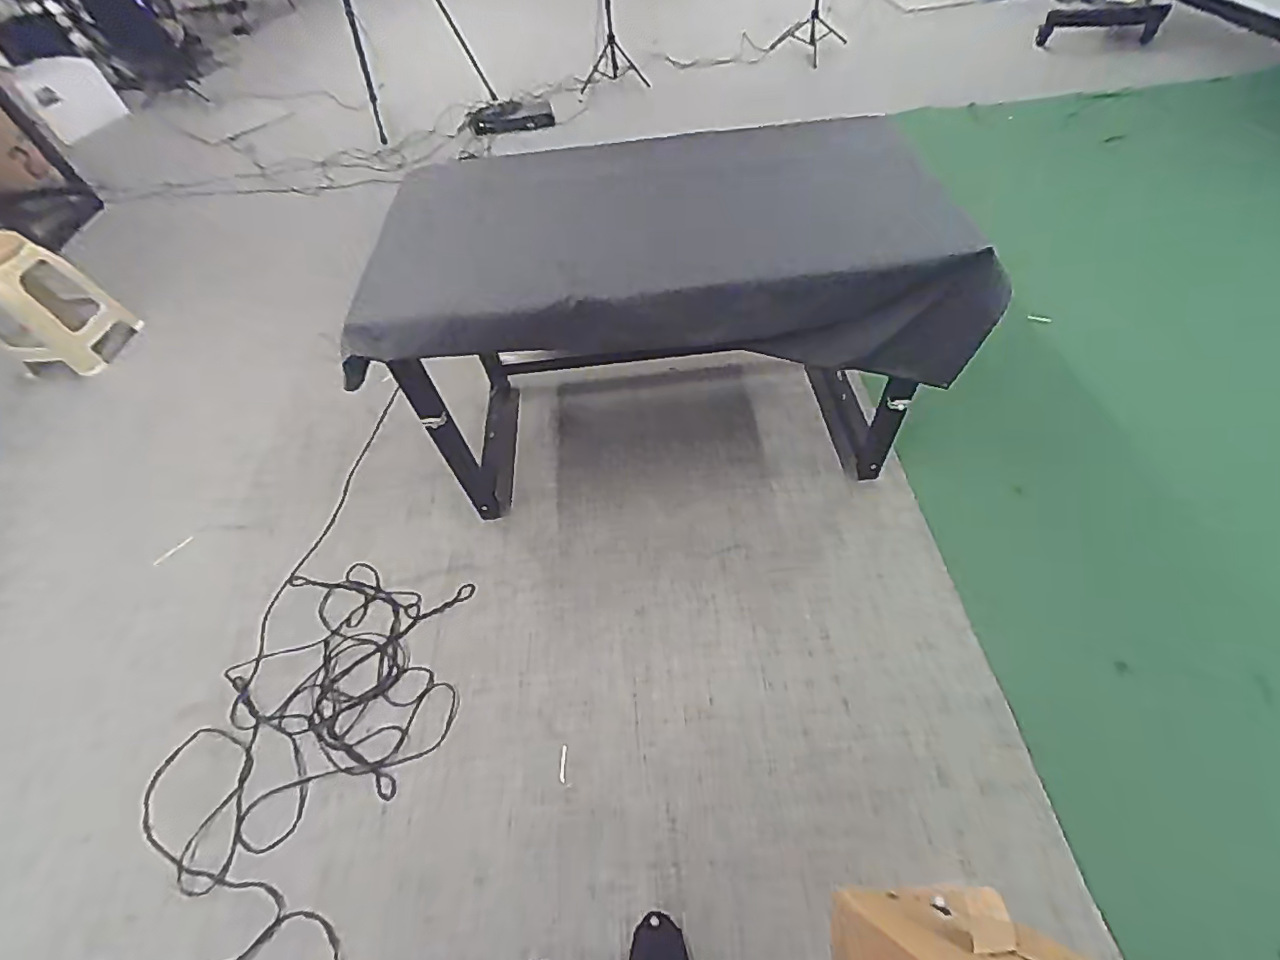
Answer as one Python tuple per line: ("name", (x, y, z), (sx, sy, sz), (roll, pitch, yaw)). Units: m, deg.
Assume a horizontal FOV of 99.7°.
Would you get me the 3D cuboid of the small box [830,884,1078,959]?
("small box", (0.296, 0.518, 0.508), (0.168, 0.176, 0.179), (8, 70, -10))
